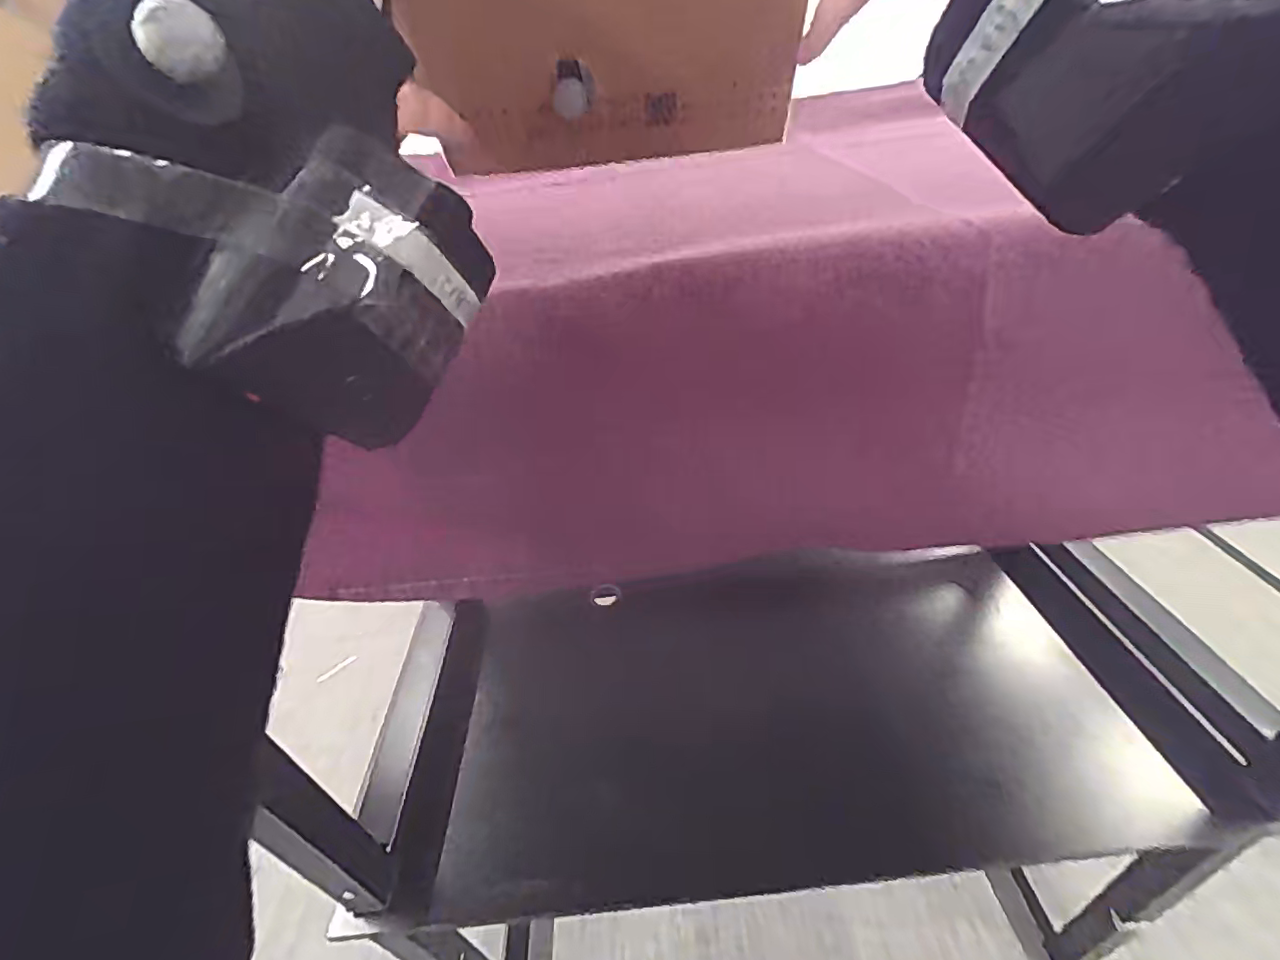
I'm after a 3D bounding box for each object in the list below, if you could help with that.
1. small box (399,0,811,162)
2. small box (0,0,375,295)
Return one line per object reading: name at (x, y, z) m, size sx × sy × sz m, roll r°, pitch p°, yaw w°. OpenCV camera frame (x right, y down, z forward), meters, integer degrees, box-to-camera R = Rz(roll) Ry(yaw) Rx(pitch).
small box at (-0.022, -0.268, 0.217) m, size 0.168 × 0.176 × 0.179 m, roll -7°, pitch 67°, yaw 1°
small box at (-0.295, -0.231, 0.347) m, size 0.168 × 0.176 × 0.179 m, roll -13°, pitch 35°, yaw -5°
